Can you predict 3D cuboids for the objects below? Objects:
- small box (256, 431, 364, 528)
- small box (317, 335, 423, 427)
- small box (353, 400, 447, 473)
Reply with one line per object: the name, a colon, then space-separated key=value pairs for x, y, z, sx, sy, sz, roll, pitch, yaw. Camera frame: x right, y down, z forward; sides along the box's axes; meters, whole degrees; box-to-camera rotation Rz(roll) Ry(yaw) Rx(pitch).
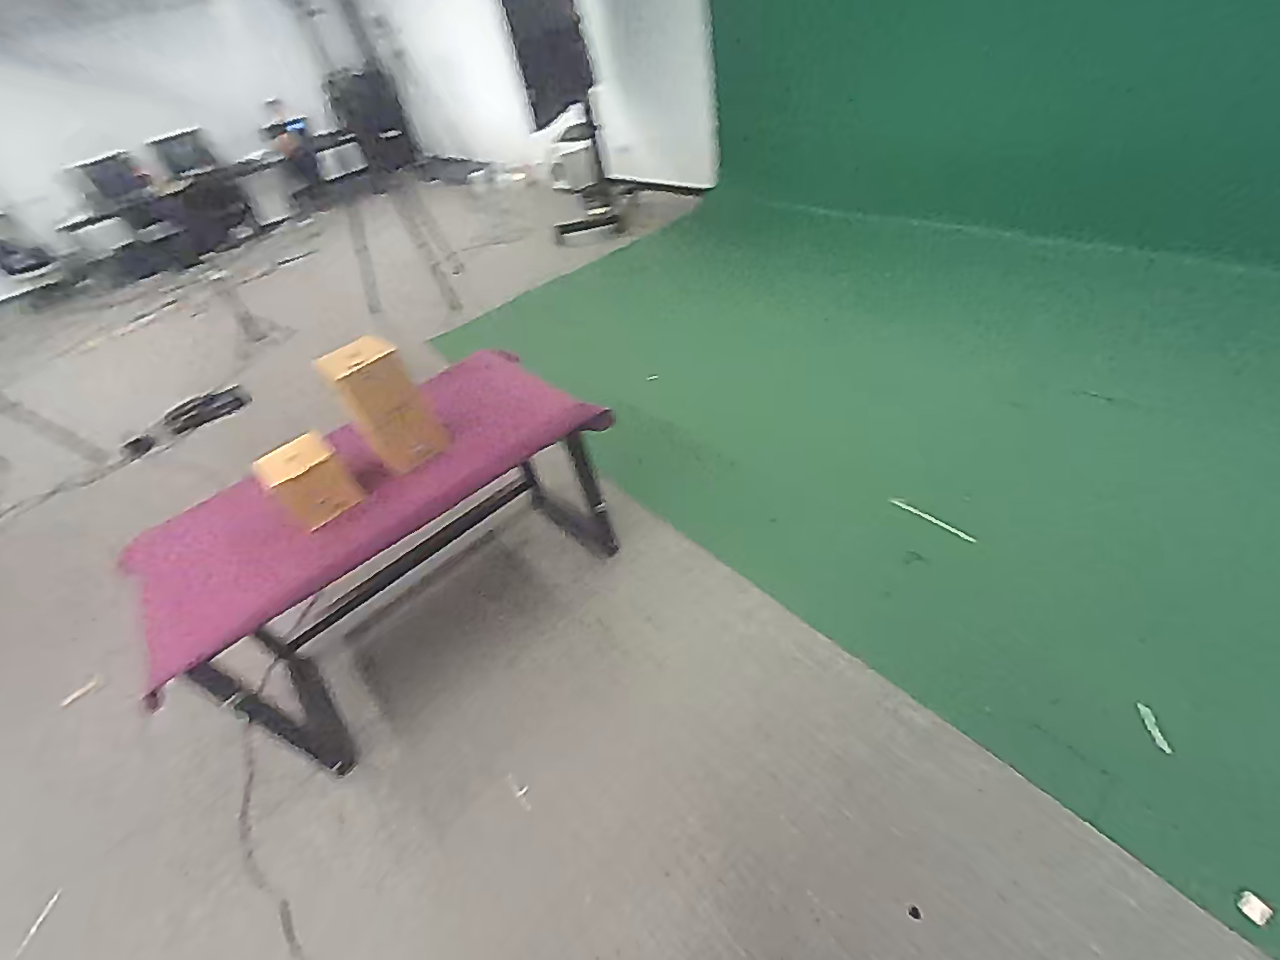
small box: x=-0.890 y=0.000 z=1.467 sx=0.168 sy=0.176 sz=0.179 roll=-38 pitch=48 yaw=-25
small box: x=-0.725 y=-0.266 z=1.465 sx=0.179 sy=0.176 sz=0.168 roll=28 pitch=57 yaw=38
small box: x=-0.697 y=-0.147 z=1.574 sx=0.168 sy=0.176 sz=0.179 roll=-39 pitch=48 yaw=-25
